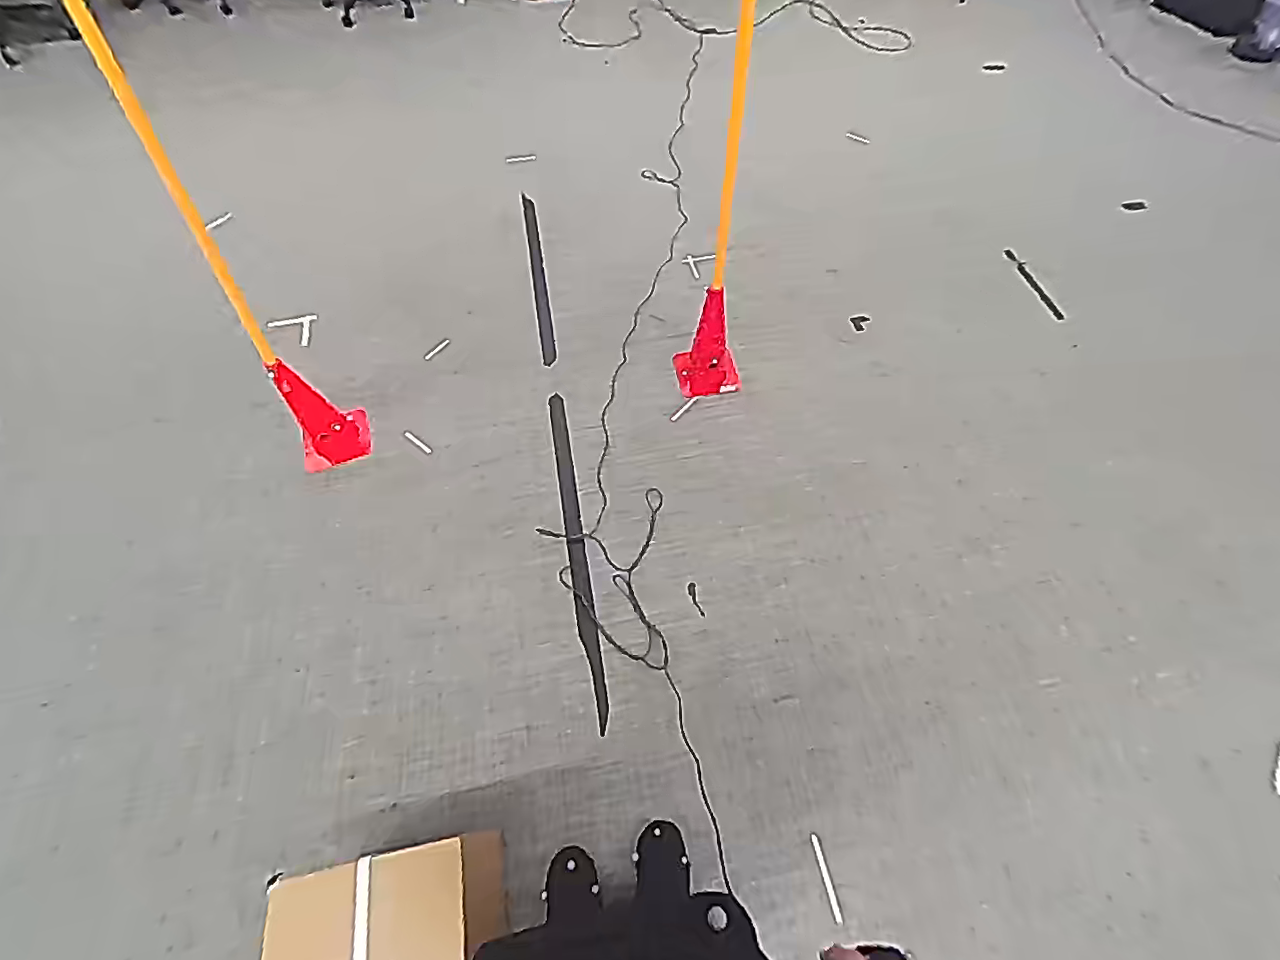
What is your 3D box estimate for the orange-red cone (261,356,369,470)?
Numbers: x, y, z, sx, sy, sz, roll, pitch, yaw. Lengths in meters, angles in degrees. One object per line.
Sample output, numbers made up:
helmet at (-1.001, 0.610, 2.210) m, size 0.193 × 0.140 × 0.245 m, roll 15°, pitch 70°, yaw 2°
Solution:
orange-red cone at (-0.961, -0.218, 1.551) m, size 0.199 × 0.360 × 0.198 m, roll -19°, pitch 60°, yaw -9°
